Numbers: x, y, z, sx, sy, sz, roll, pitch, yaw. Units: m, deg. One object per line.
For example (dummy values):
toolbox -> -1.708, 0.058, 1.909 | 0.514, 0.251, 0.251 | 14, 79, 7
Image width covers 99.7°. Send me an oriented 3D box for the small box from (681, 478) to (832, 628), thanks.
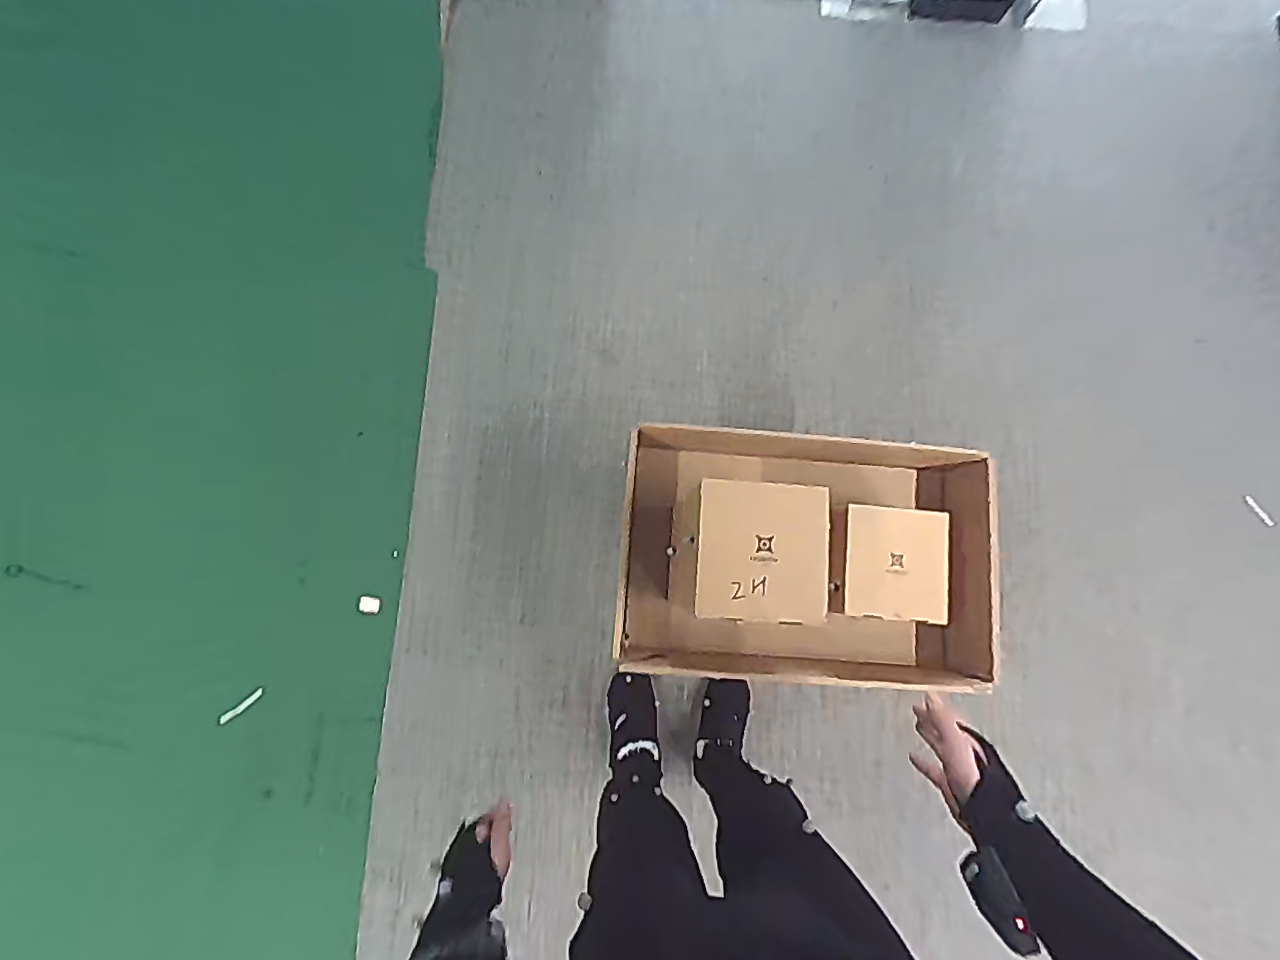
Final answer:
small box -> 0.151, 0.102, 0.747 | 0.168, 0.176, 0.179 | 5, 81, -2
